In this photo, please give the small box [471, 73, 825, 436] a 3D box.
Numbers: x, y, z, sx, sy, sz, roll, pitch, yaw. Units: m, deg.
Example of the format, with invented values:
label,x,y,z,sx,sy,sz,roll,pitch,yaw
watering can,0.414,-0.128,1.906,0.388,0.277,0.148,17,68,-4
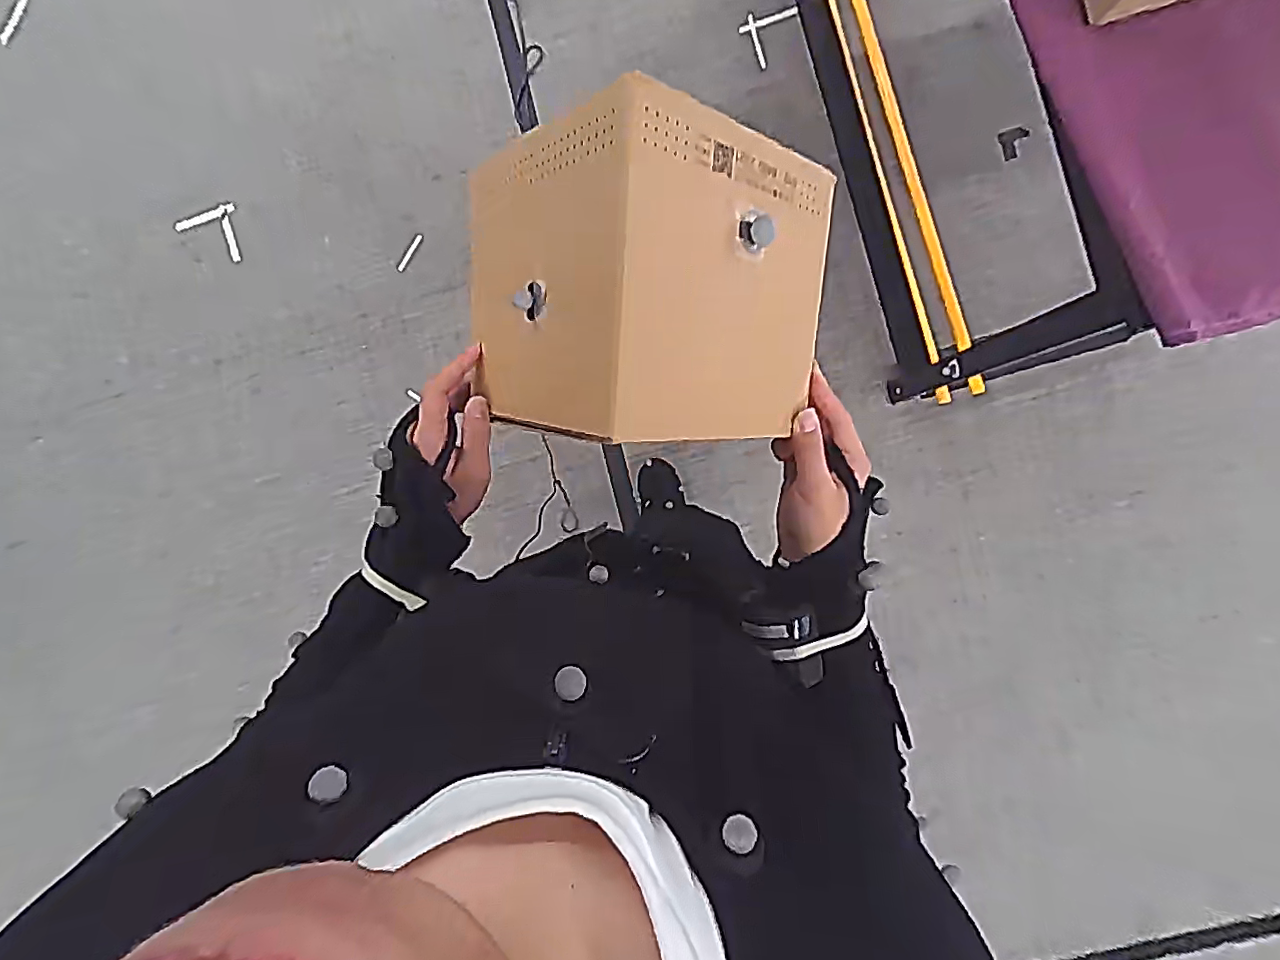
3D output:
label,x,y,z,sx,sy,sz,roll,pitch,yaw
small box,0.001,-0.123,0.364,0.168,0.179,0.176,-5,104,-40
